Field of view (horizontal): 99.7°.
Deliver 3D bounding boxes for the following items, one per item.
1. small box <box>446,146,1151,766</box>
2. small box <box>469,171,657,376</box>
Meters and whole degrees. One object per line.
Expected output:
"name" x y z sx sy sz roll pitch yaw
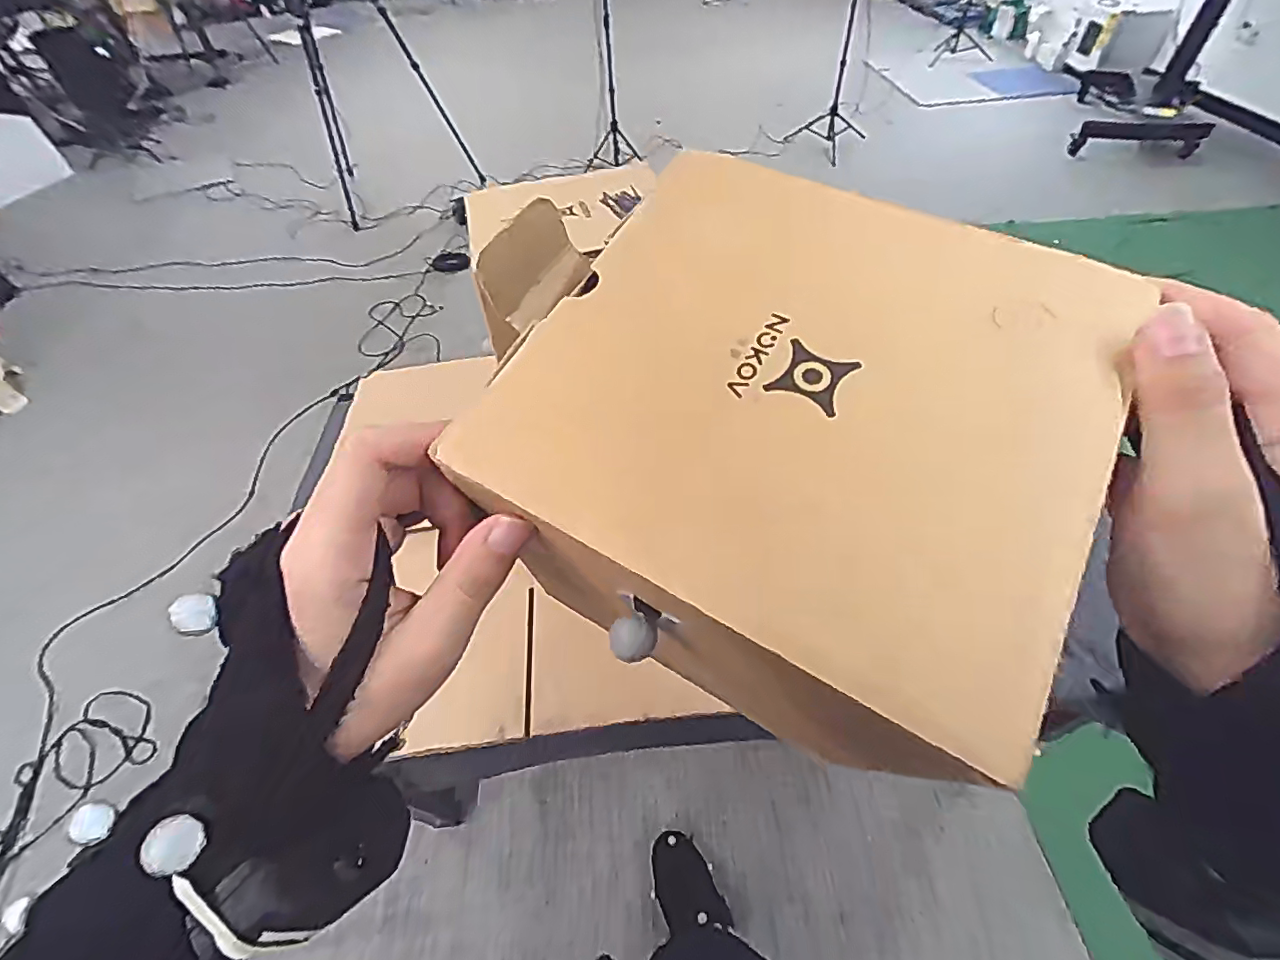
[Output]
"small box" 0.058 -0.002 0.245 0.179 0.176 0.168 26 69 16
"small box" -0.050 -0.163 0.508 0.179 0.176 0.168 -12 48 -8
